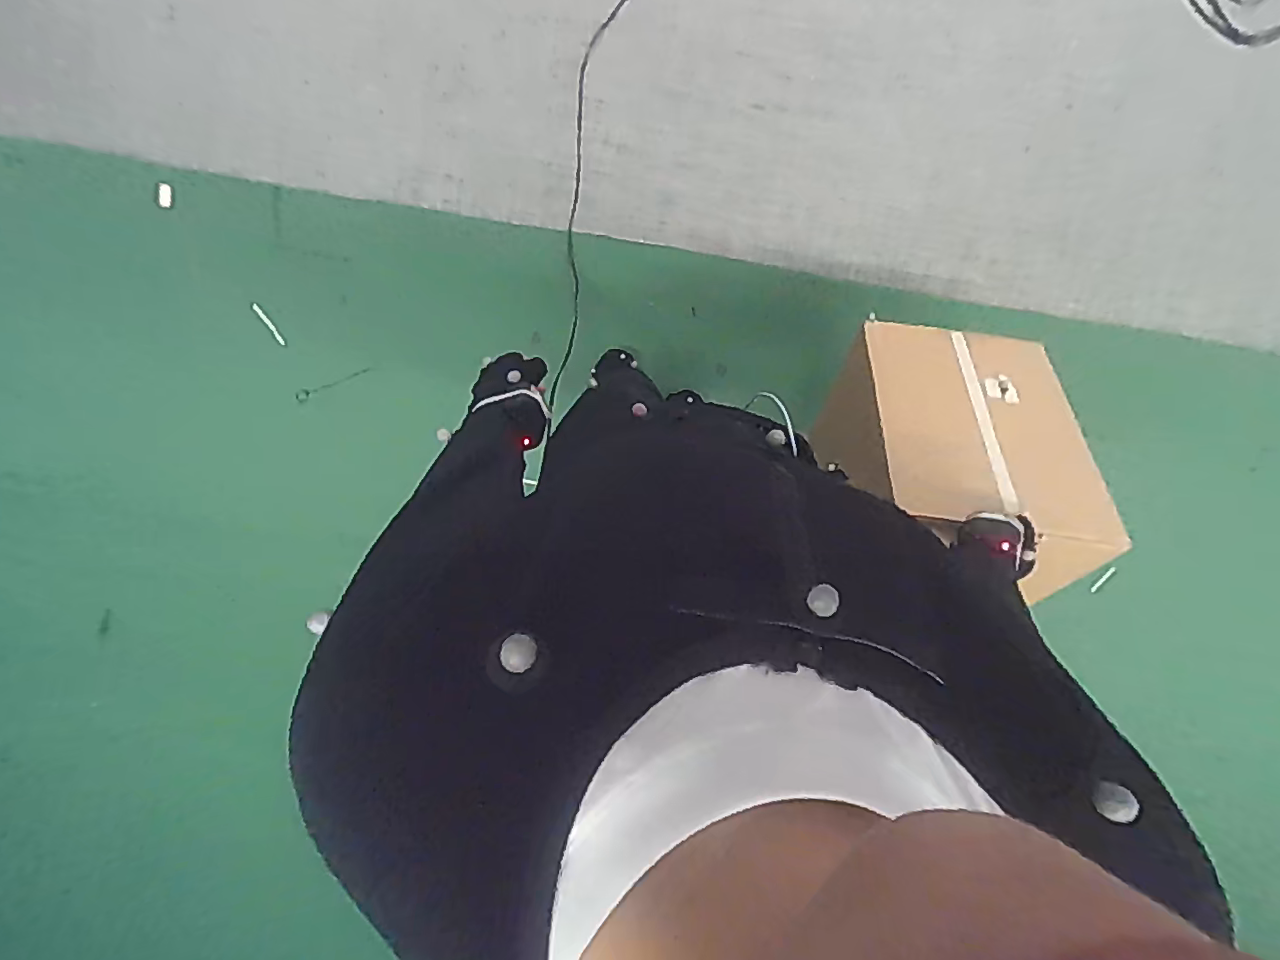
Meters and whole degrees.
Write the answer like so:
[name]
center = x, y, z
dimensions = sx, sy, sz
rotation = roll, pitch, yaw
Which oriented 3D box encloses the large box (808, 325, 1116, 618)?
[large box]
center = 0.508, -0.011, 0.967
dimensions = 0.320, 0.408, 0.320
rotation = 9, 144, 0
